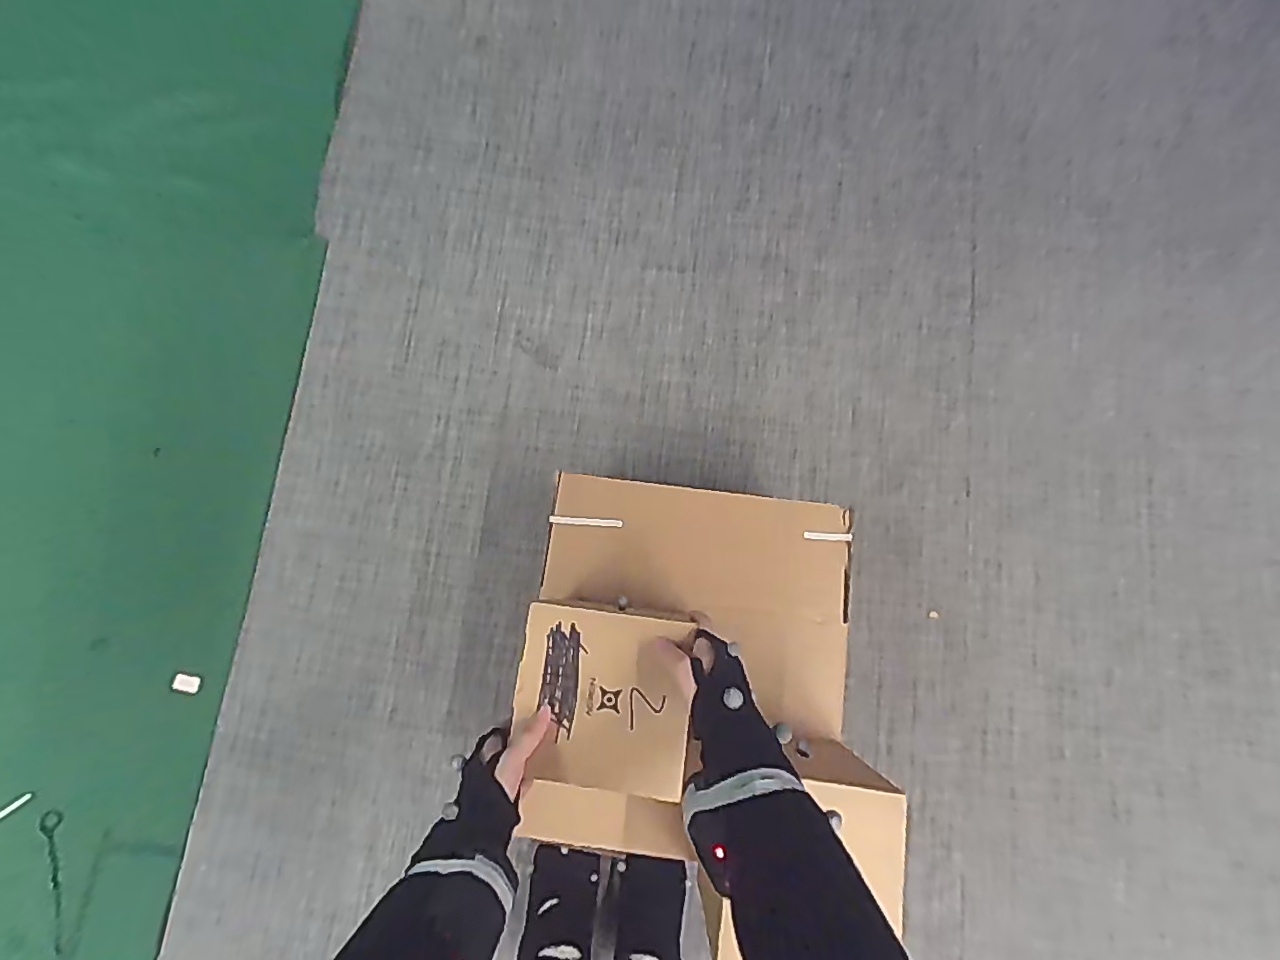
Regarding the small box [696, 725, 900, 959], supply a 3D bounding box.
[{"bbox_3d":[0.157,0.383,0.585,0.168,0.176,0.179,8,79,1],"label":"small box"}]
